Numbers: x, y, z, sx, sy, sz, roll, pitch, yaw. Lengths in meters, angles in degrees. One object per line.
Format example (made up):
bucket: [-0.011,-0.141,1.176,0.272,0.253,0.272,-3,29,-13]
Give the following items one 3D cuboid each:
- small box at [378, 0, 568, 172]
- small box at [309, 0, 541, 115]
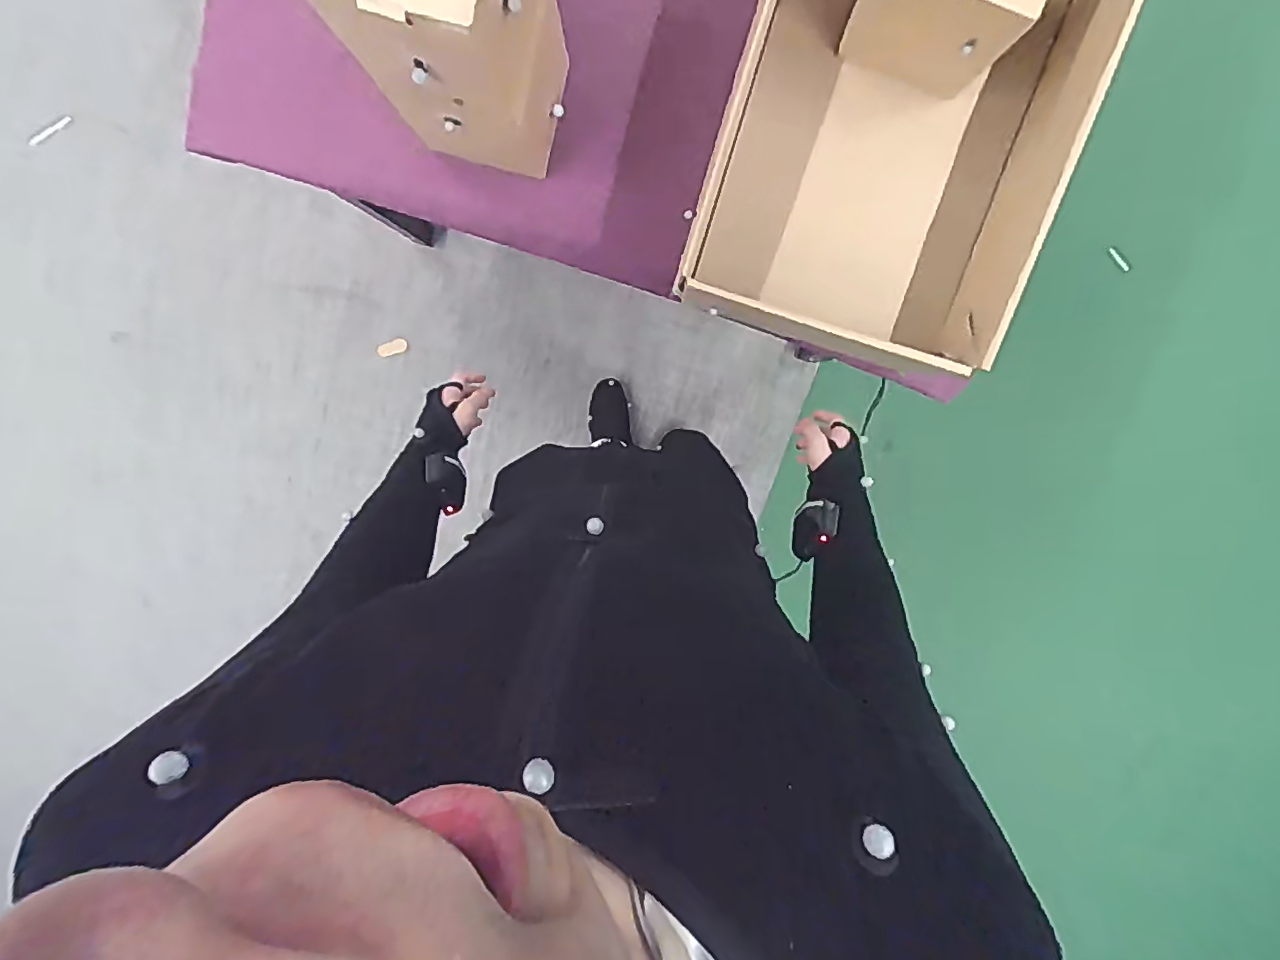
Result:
small box: [-0.204,-0.533,0.704,0.179,0.176,0.168,14,99,-2]
small box: [-0.203,-0.511,0.542,0.168,0.176,0.179,15,100,-3]
